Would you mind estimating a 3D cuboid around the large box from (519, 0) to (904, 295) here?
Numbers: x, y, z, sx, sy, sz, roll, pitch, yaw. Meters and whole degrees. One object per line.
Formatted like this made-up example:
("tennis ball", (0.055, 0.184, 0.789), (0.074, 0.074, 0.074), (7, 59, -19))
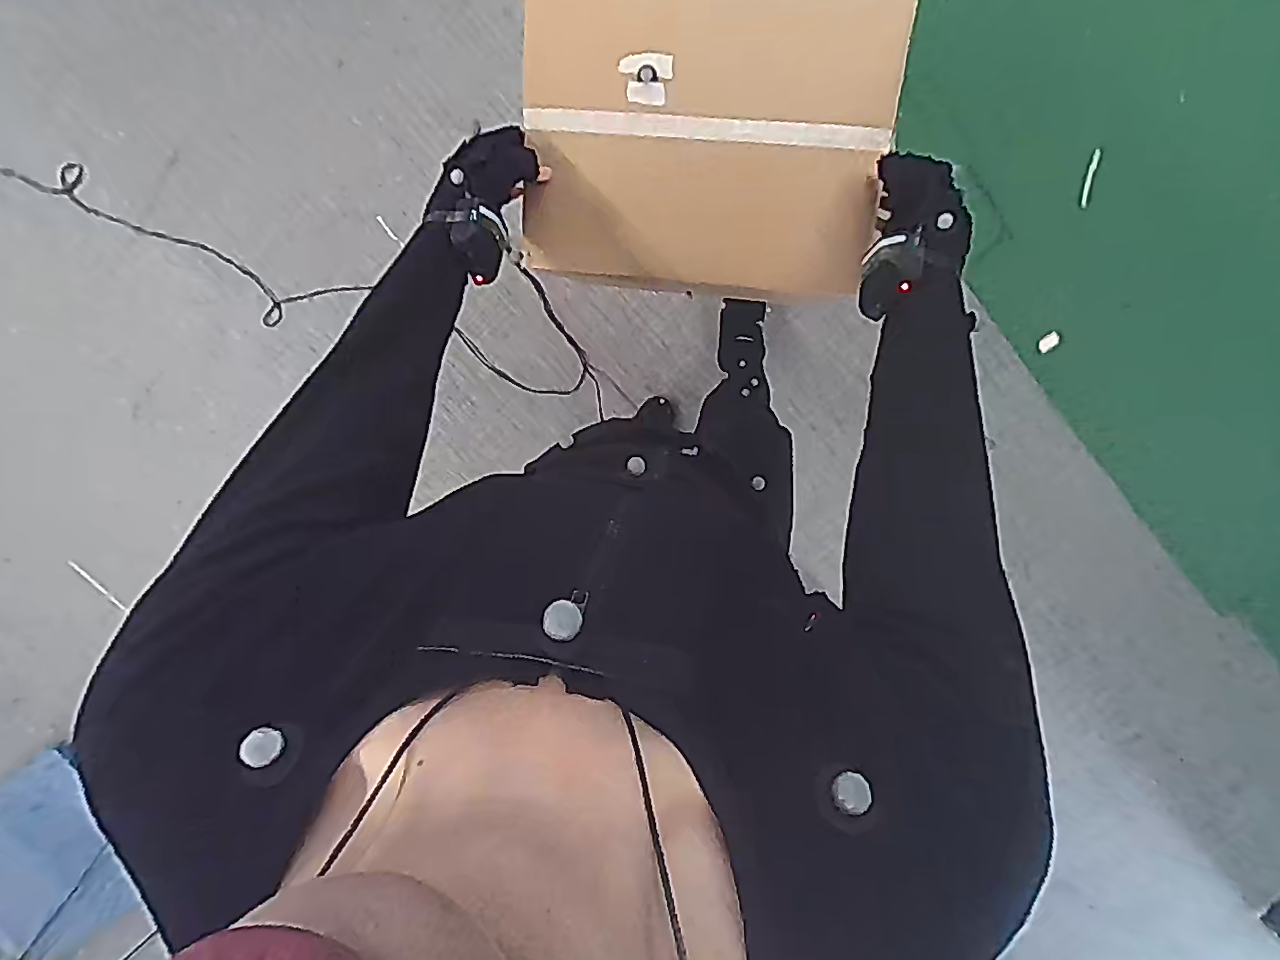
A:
("large box", (0.079, -0.427, 0.734), (0.408, 0.320, 0.320), (6, 106, 5))
